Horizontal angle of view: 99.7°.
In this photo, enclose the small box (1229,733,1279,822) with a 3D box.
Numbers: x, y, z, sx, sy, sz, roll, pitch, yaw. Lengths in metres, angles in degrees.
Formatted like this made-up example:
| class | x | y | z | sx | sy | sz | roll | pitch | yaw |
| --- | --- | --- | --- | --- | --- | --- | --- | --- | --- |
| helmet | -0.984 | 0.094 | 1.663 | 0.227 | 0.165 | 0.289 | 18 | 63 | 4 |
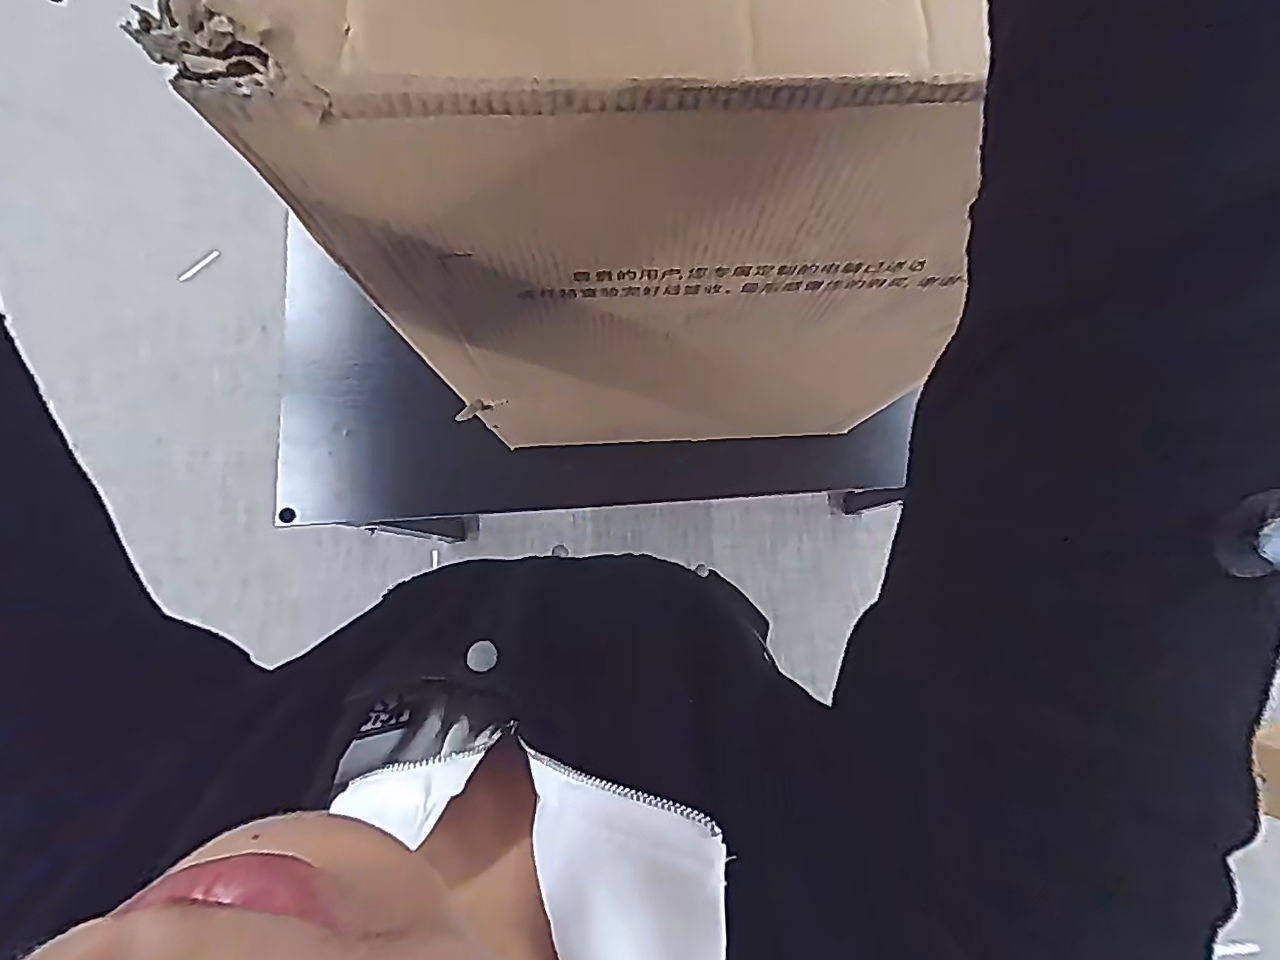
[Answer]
| class | x | y | z | sx | sy | sz | roll | pitch | yaw |
| --- | --- | --- | --- | --- | --- | --- | --- | --- | --- |
| small box | 1.523 | 0.686 | 1.227 | 0.179 | 0.176 | 0.168 | -3 | 81 | -2 |
